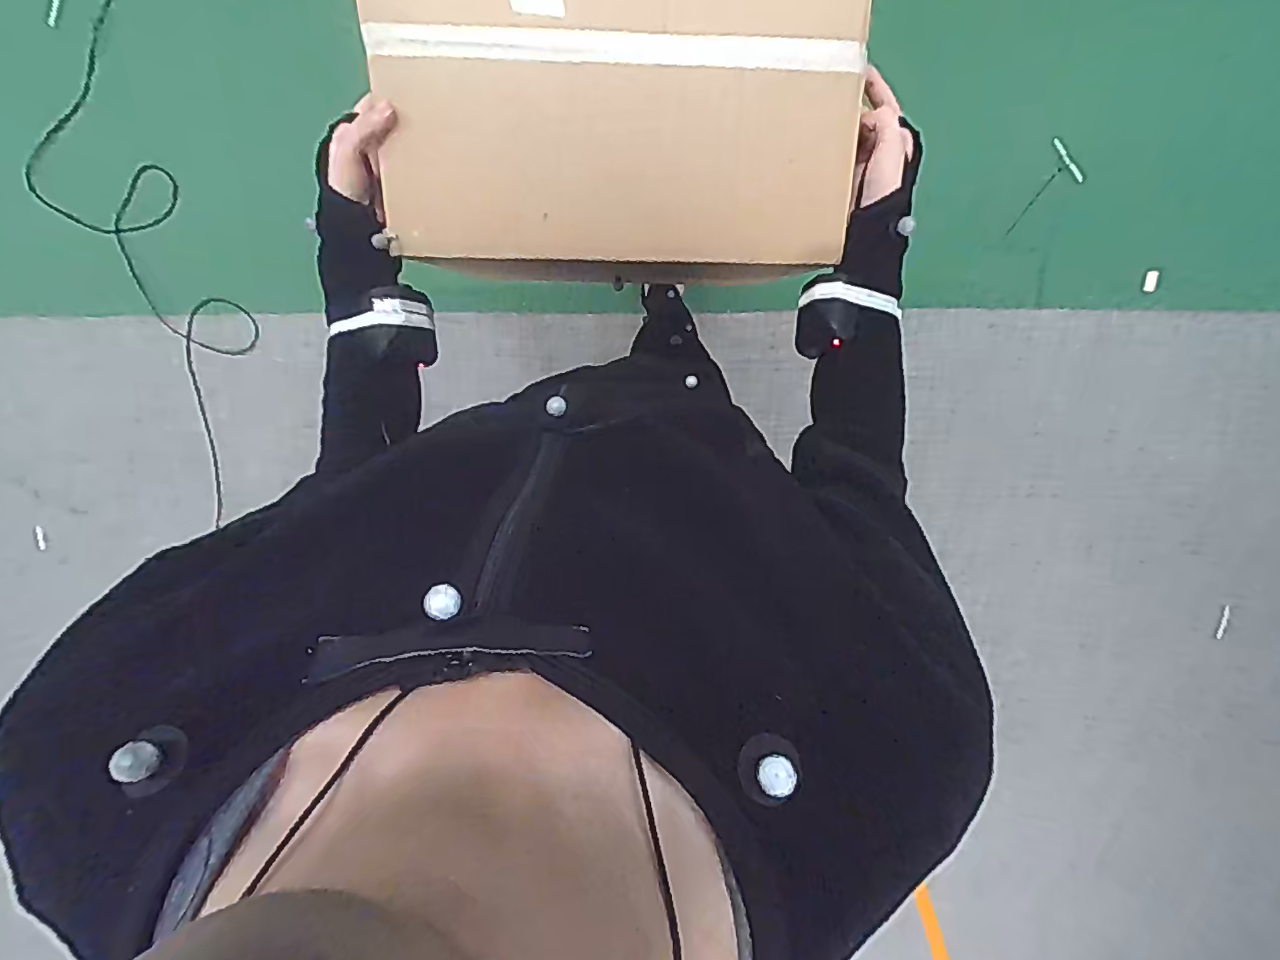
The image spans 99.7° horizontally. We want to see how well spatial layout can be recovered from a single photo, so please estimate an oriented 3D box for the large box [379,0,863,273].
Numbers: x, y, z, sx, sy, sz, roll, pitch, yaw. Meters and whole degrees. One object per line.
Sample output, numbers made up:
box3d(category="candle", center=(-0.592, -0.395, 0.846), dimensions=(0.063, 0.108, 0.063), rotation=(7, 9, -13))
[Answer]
box3d(category="large box", center=(-0.017, -0.400, 0.594), dimensions=(0.408, 0.320, 0.320), rotation=(0, 106, -2))
